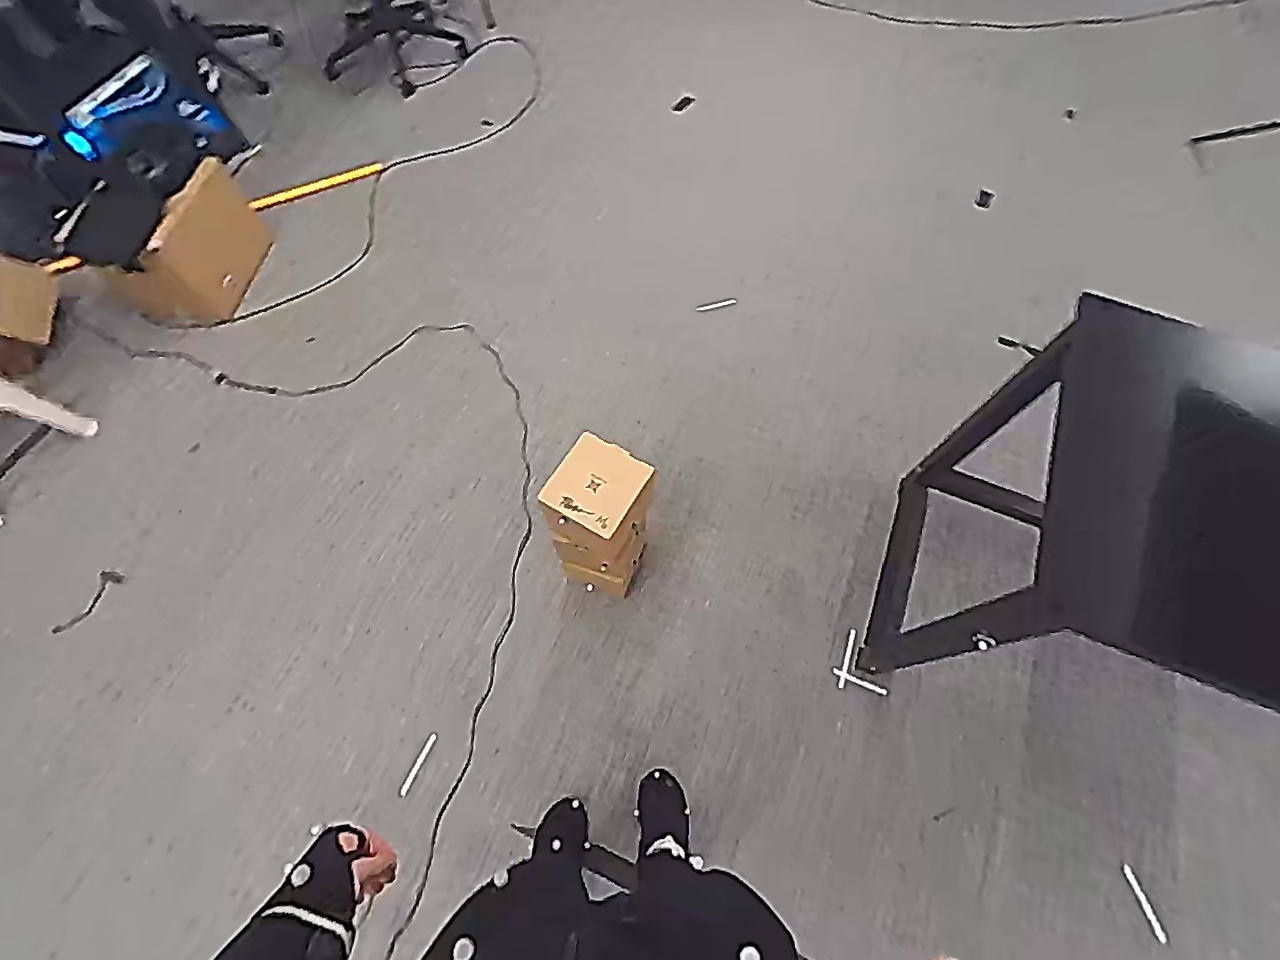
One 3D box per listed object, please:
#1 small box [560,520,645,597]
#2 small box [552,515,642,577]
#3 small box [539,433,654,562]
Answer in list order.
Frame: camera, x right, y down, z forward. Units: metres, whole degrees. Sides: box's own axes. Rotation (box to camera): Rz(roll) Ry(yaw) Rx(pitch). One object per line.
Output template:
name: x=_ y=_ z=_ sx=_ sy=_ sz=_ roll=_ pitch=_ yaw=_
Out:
small box: x=-0.093 y=0.185 z=1.415 sx=0.168 sy=0.176 sz=0.179 roll=18 pitch=67 yaw=8
small box: x=-0.092 y=0.110 z=1.272 sx=0.168 sy=0.176 sz=0.179 roll=15 pitch=64 yaw=5
small box: x=-0.088 y=0.041 z=1.123 sx=0.168 sy=0.176 sz=0.179 roll=28 pitch=67 yaw=12
